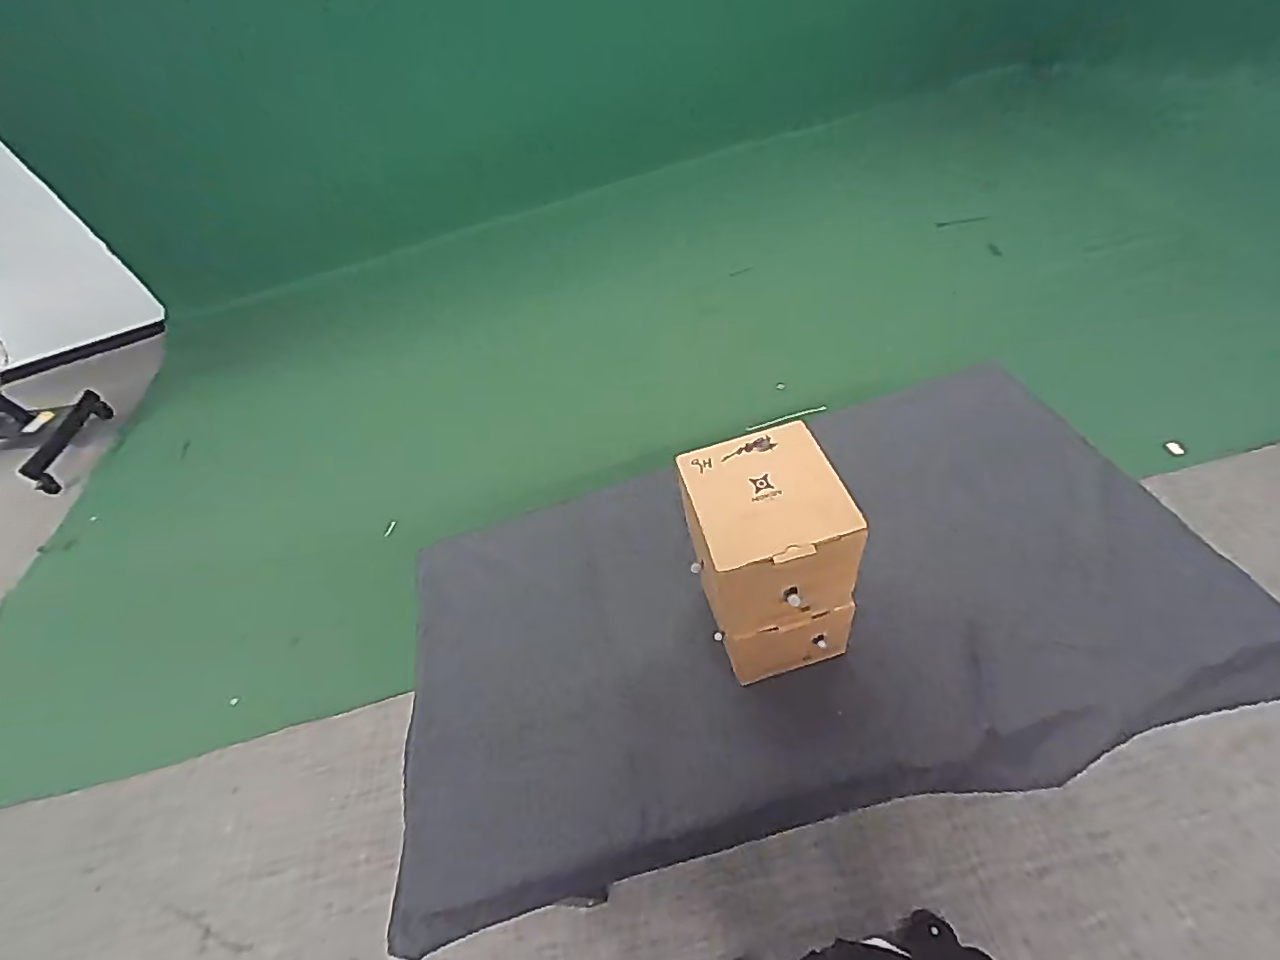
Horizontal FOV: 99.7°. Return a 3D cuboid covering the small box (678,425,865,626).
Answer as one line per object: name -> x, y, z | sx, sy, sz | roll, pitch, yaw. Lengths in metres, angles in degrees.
small box -> 0.155, 0.065, 0.676 | 0.168, 0.176, 0.179 | -15, 51, 0

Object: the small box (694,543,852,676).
small box -> 0.189, 0.170, 0.798 | 0.168, 0.176, 0.179 | -17, 49, -1
